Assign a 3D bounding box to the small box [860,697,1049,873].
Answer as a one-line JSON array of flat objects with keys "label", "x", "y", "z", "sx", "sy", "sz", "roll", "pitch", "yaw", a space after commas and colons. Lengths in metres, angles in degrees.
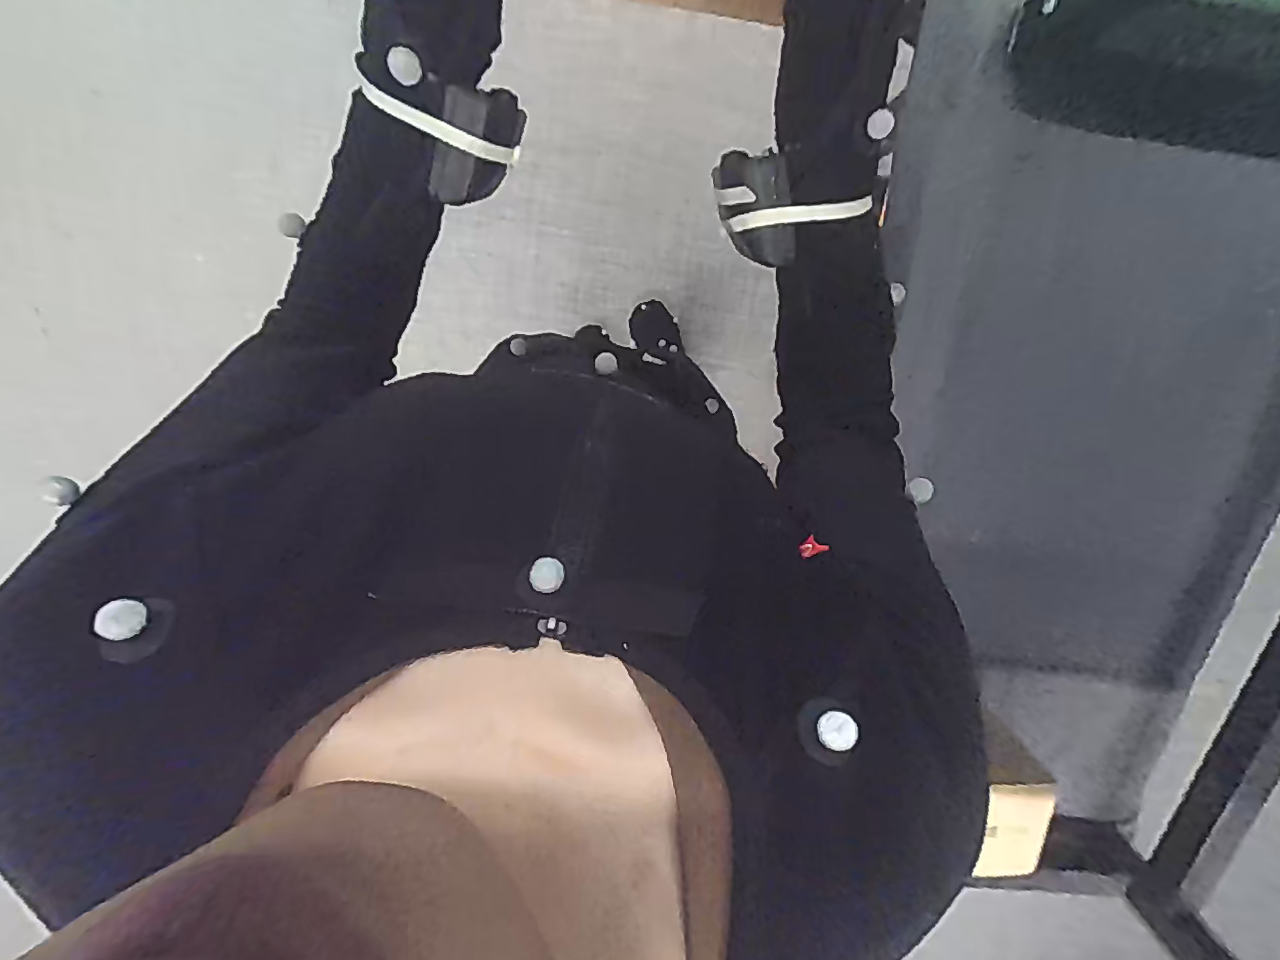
[{"label": "small box", "x": 0.454, "y": 0.448, "z": 0.814, "sx": 0.179, "sy": 0.176, "sz": 0.168, "roll": 1, "pitch": 107, "yaw": -3}]
